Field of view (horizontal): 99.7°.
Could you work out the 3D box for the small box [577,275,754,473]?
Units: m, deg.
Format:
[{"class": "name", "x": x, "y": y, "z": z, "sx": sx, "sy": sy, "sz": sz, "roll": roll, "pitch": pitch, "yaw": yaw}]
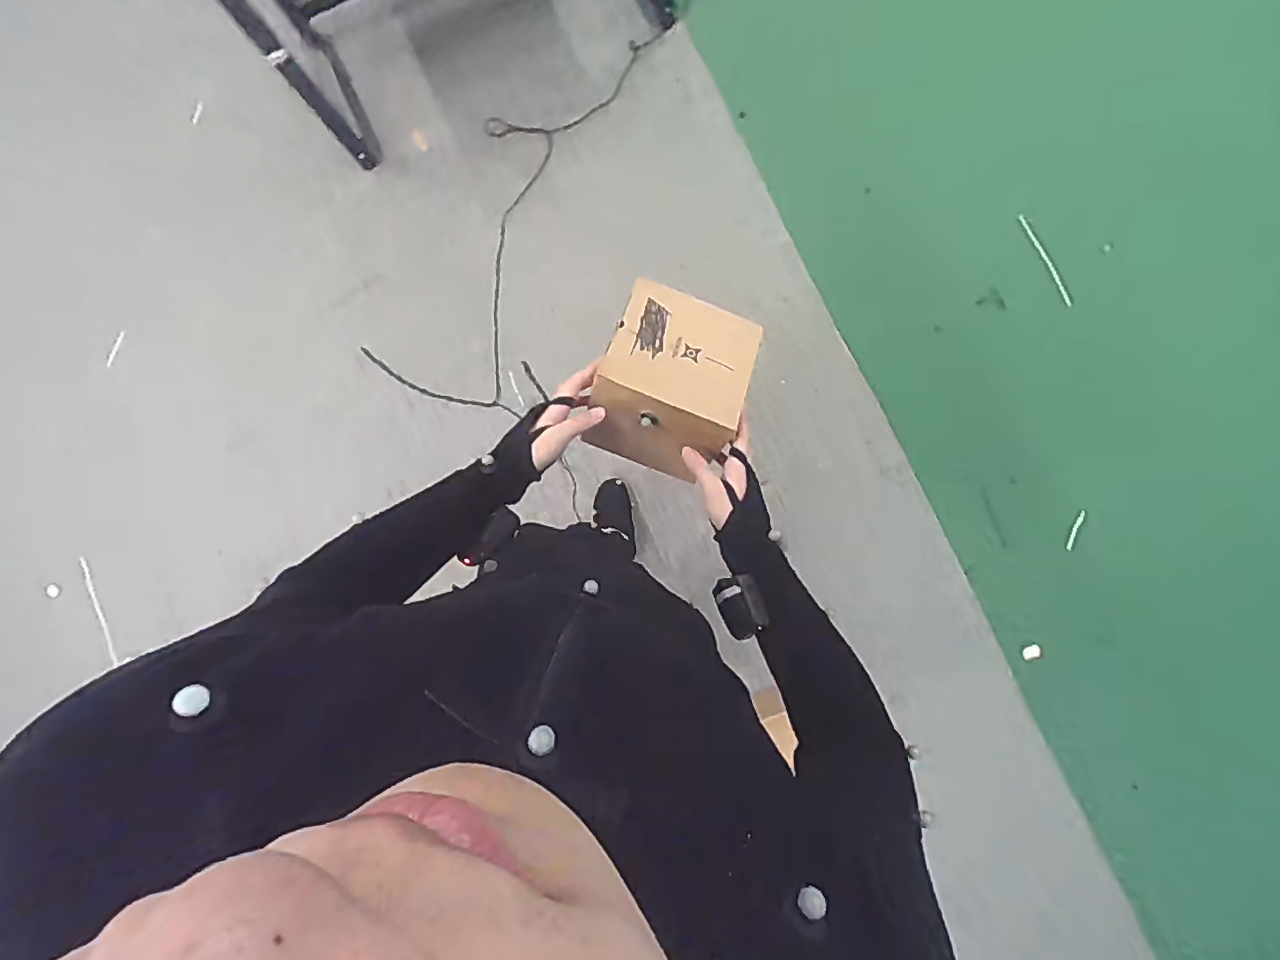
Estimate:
[{"class": "small box", "x": 0.026, "y": -0.130, "z": 0.721, "sx": 0.179, "sy": 0.176, "sz": 0.168, "roll": 21, "pitch": 64, "yaw": -4}]
